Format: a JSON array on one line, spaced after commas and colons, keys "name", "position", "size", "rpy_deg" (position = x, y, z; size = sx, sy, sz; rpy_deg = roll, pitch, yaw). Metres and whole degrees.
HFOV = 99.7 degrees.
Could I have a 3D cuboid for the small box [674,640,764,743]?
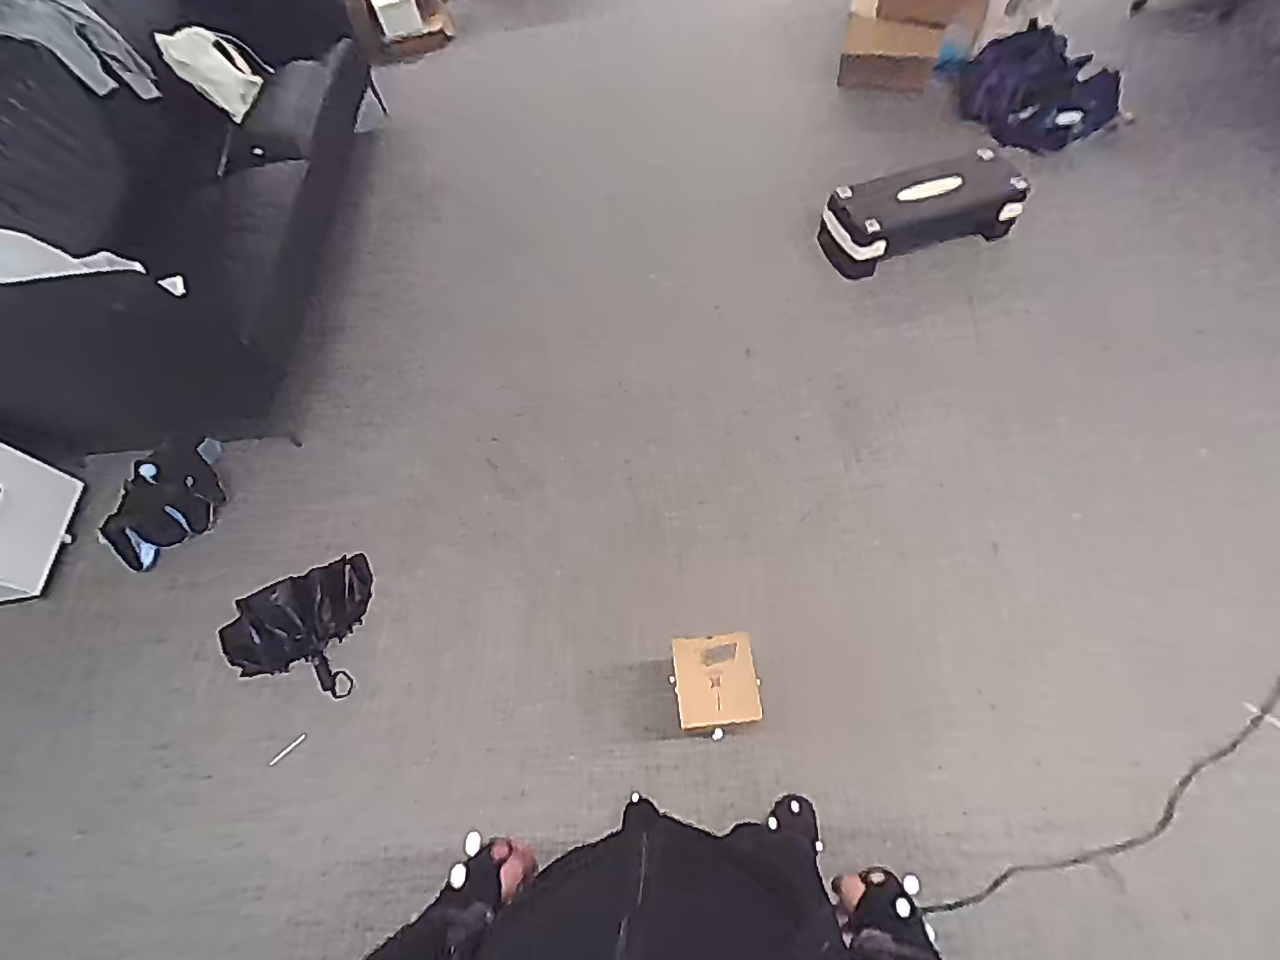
[{"name": "small box", "position": [0.165, 0.462, 1.172], "size": [0.168, 0.176, 0.179], "rpy_deg": [-8, 61, 3]}]
